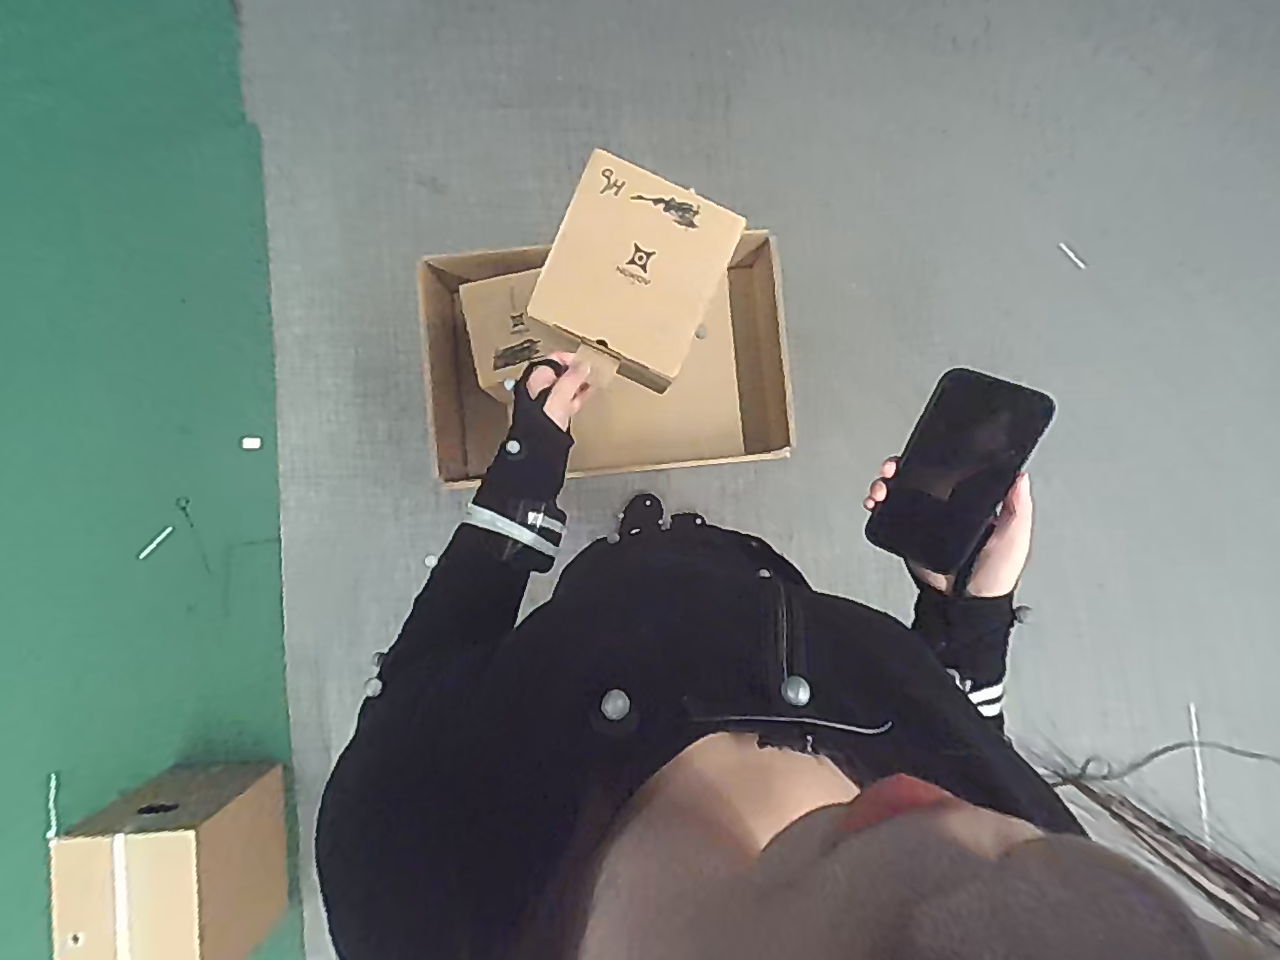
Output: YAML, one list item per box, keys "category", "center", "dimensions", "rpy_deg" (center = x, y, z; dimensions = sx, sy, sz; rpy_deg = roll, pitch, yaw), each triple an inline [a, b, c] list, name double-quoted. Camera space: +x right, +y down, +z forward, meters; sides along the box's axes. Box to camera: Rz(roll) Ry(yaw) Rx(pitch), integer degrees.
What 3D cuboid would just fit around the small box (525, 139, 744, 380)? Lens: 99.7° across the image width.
- category: "small box"
  center: [-0.005, -0.223, 0.604]
  dimensions: [0.168, 0.176, 0.179]
  rpy_deg: [24, 96, -3]
